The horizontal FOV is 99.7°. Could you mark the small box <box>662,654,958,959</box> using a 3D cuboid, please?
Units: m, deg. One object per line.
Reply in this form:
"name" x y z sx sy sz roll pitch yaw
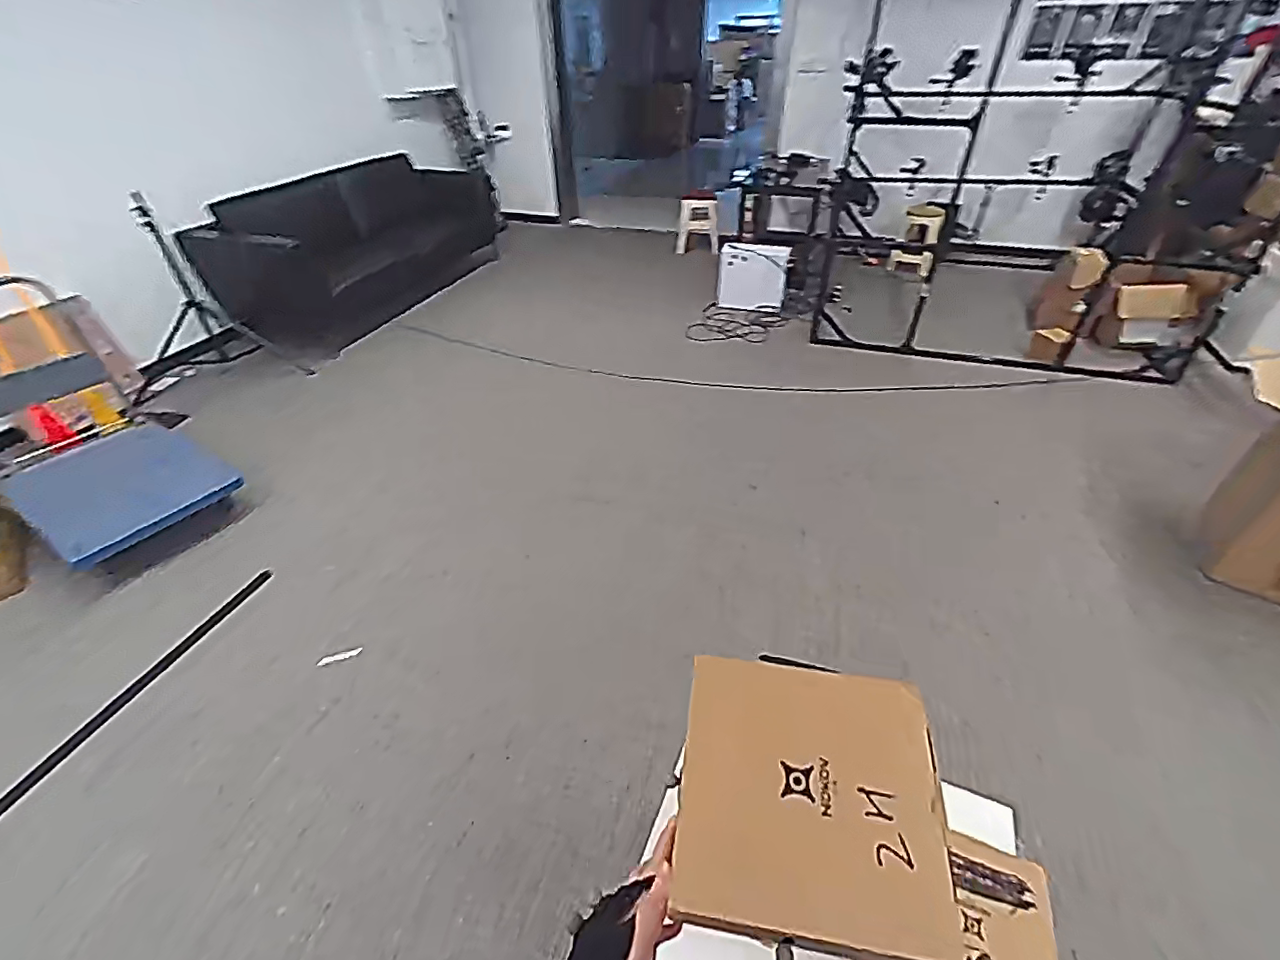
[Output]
"small box" 0.115 0.261 0.433 0.179 0.176 0.168 6 50 7
